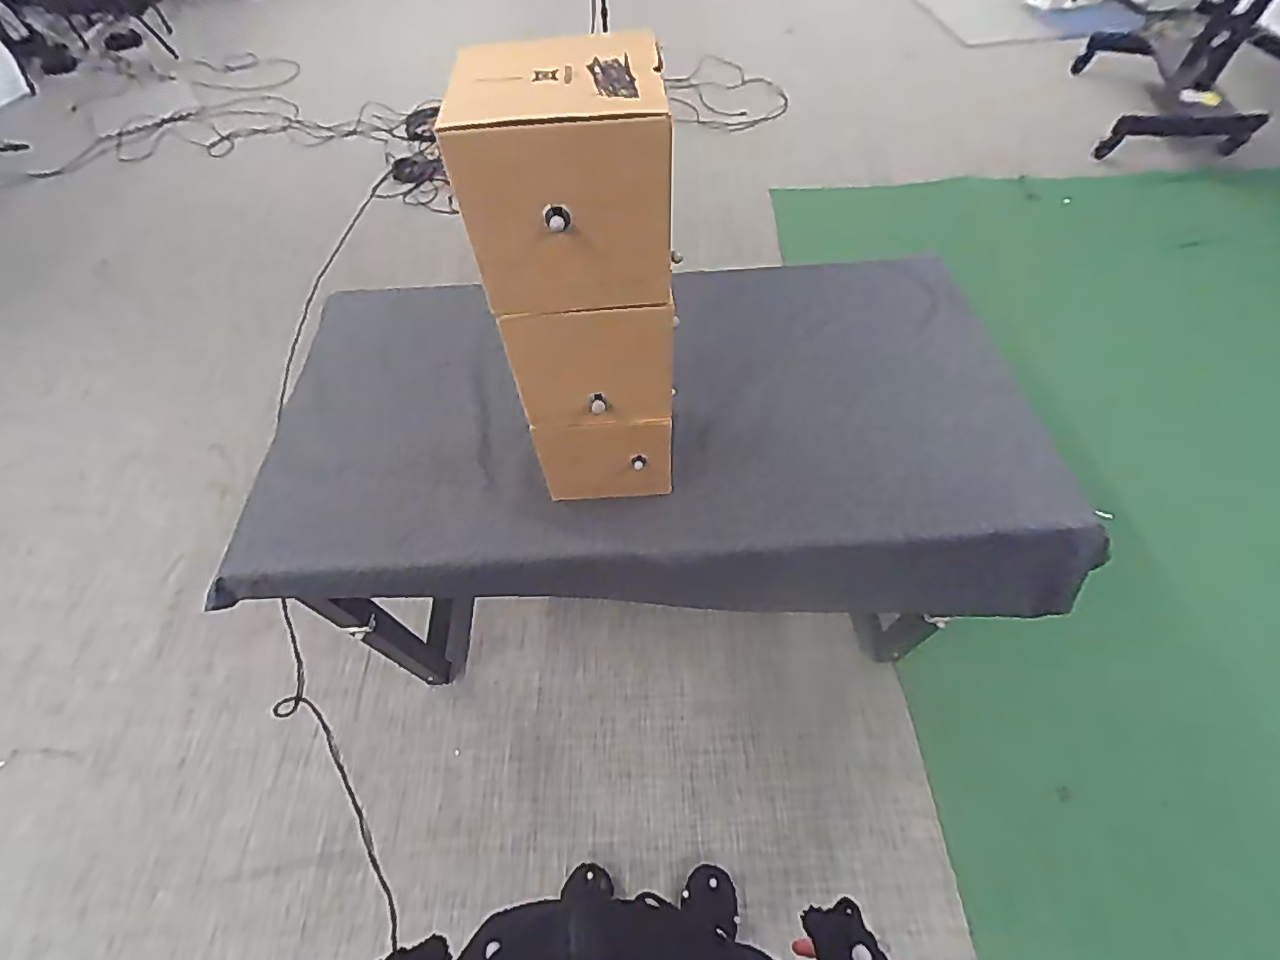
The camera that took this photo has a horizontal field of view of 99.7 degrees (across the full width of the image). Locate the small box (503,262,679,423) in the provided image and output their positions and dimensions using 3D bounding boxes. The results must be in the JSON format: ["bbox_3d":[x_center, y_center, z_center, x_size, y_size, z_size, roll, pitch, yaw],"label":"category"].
[{"bbox_3d":[-0.052,-0.184,0.641,0.179,0.176,0.168,-4,55,-1],"label":"small box"}]

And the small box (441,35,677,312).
[{"bbox_3d":[-0.061,-0.279,0.506,0.179,0.176,0.168,-4,56,1],"label":"small box"}]

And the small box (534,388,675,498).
[{"bbox_3d":[-0.044,-0.089,0.774,0.179,0.176,0.168,-5,55,1],"label":"small box"}]
